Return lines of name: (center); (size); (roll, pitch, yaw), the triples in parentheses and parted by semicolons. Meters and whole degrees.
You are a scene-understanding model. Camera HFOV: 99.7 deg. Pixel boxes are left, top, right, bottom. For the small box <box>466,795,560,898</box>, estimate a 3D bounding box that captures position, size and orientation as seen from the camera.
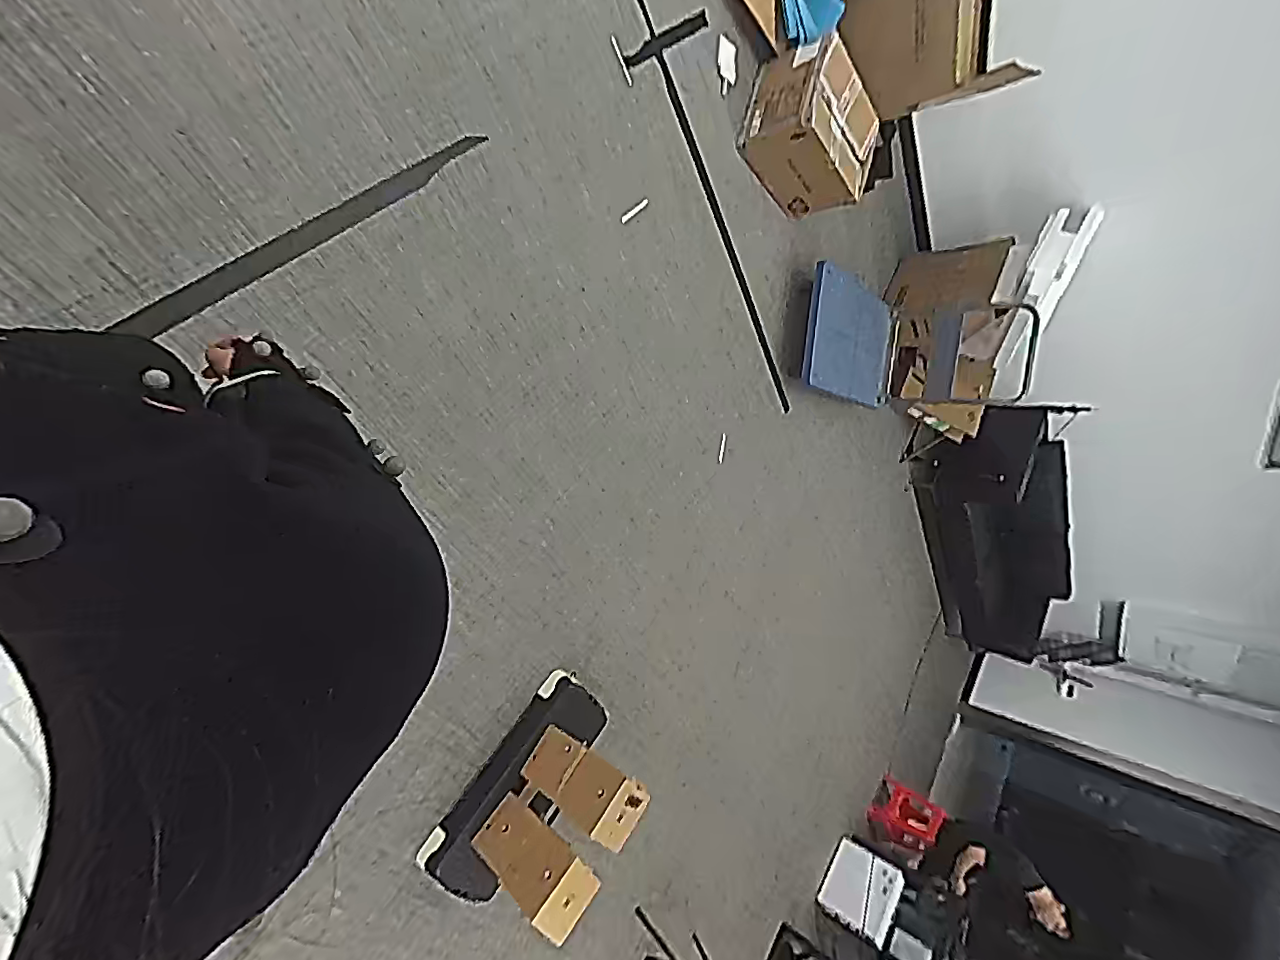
small box: (-0.377, 1.070, 1.594); (0.168, 0.176, 0.179); (-47, 127, -29)
